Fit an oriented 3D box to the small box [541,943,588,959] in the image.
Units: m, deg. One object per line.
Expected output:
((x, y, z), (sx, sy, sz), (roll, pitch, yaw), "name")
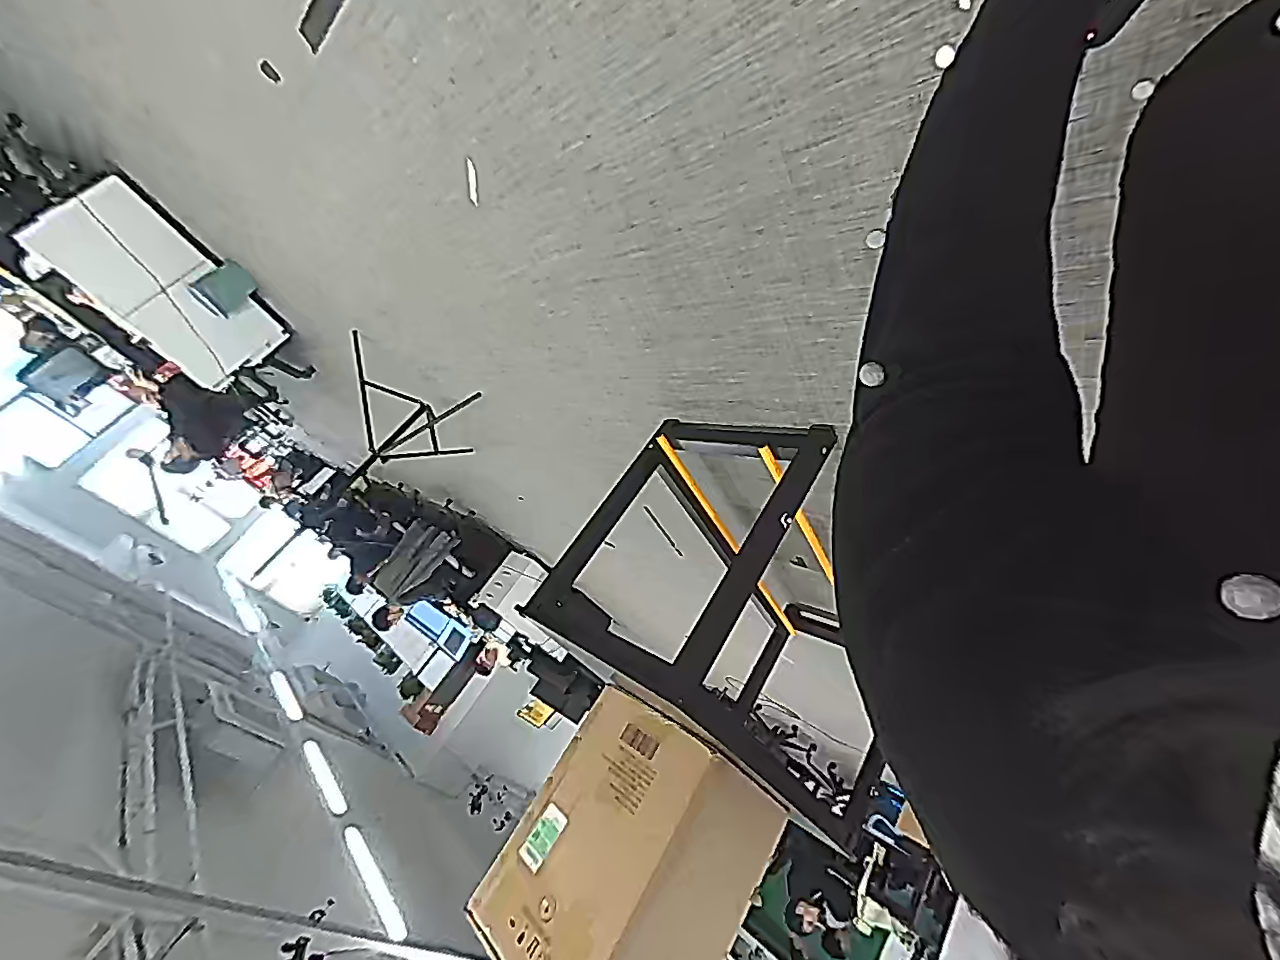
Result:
((-0.197, 1.381, 1.426), (0.179, 0.176, 0.168), (11, 146, 46), "small box")
